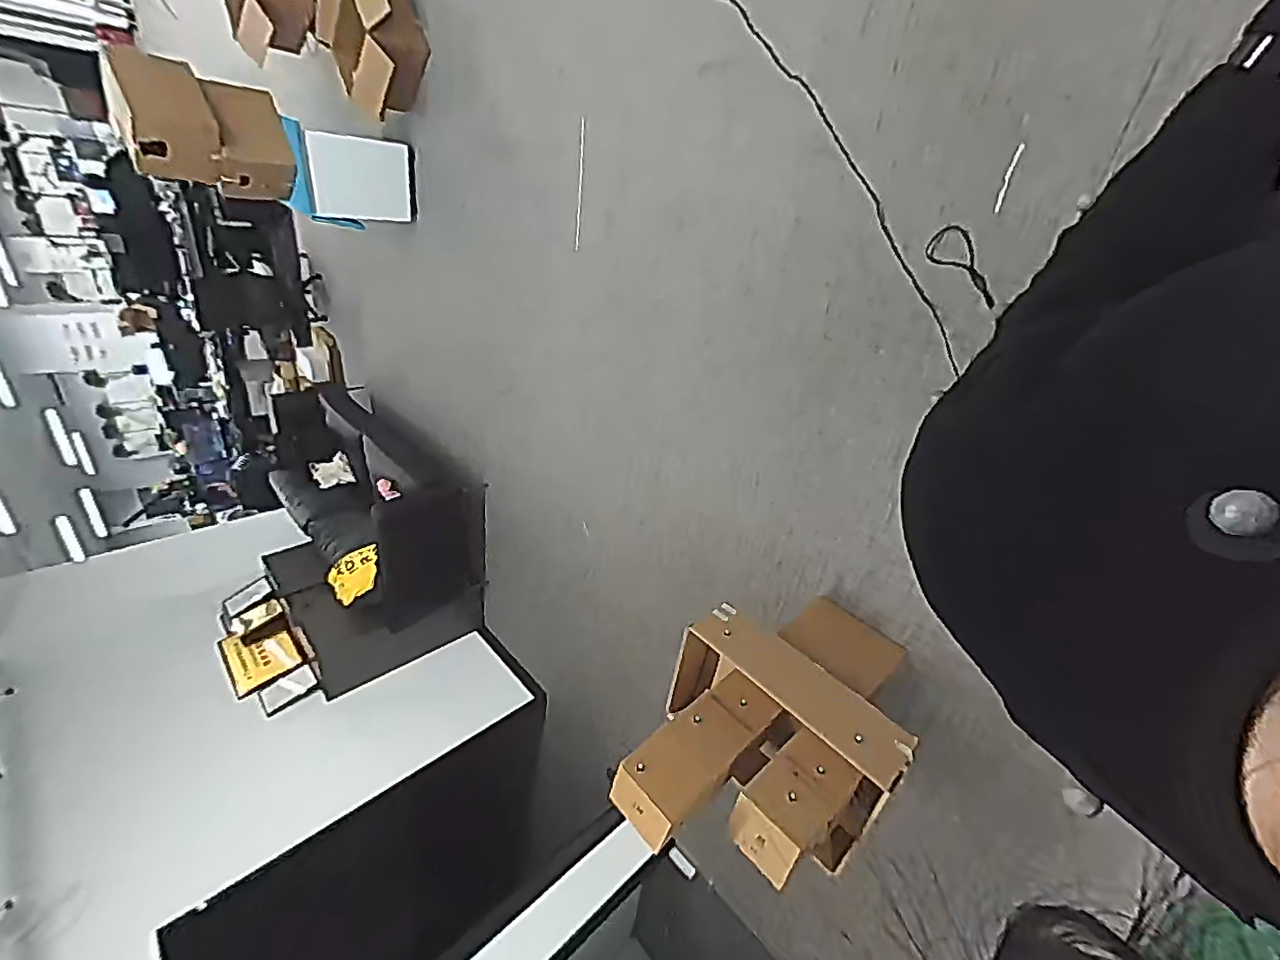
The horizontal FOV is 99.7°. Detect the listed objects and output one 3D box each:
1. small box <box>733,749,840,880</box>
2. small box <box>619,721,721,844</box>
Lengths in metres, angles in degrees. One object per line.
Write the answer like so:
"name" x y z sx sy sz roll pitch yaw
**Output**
"small box" 0.356 0.797 1.306 0.168 0.176 0.179 34 128 37
"small box" 0.076 0.751 1.358 0.179 0.176 0.168 37 131 32
